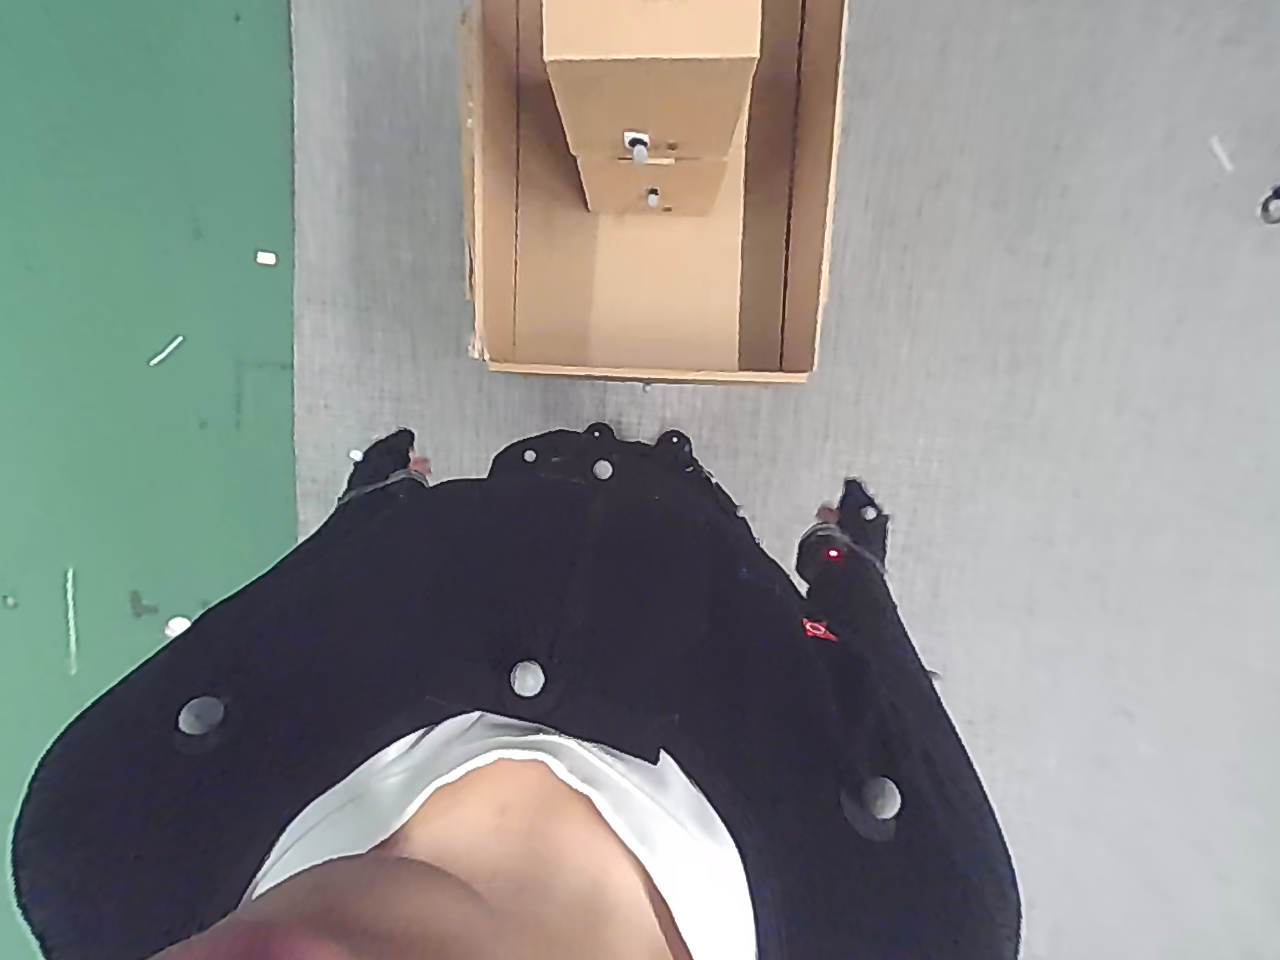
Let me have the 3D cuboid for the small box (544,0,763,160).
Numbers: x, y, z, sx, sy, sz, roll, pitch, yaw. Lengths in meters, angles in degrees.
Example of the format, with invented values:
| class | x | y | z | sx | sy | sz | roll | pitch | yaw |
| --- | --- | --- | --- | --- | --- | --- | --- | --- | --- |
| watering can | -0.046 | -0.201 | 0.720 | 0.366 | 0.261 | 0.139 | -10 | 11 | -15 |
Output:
| class | x | y | z | sx | sy | sz | roll | pitch | yaw |
| --- | --- | --- | --- | --- | --- | --- | --- | --- | --- |
| small box | 0.012 | -0.413 | 0.475 | 0.168 | 0.176 | 0.179 | 0 | 98 | 1 |
